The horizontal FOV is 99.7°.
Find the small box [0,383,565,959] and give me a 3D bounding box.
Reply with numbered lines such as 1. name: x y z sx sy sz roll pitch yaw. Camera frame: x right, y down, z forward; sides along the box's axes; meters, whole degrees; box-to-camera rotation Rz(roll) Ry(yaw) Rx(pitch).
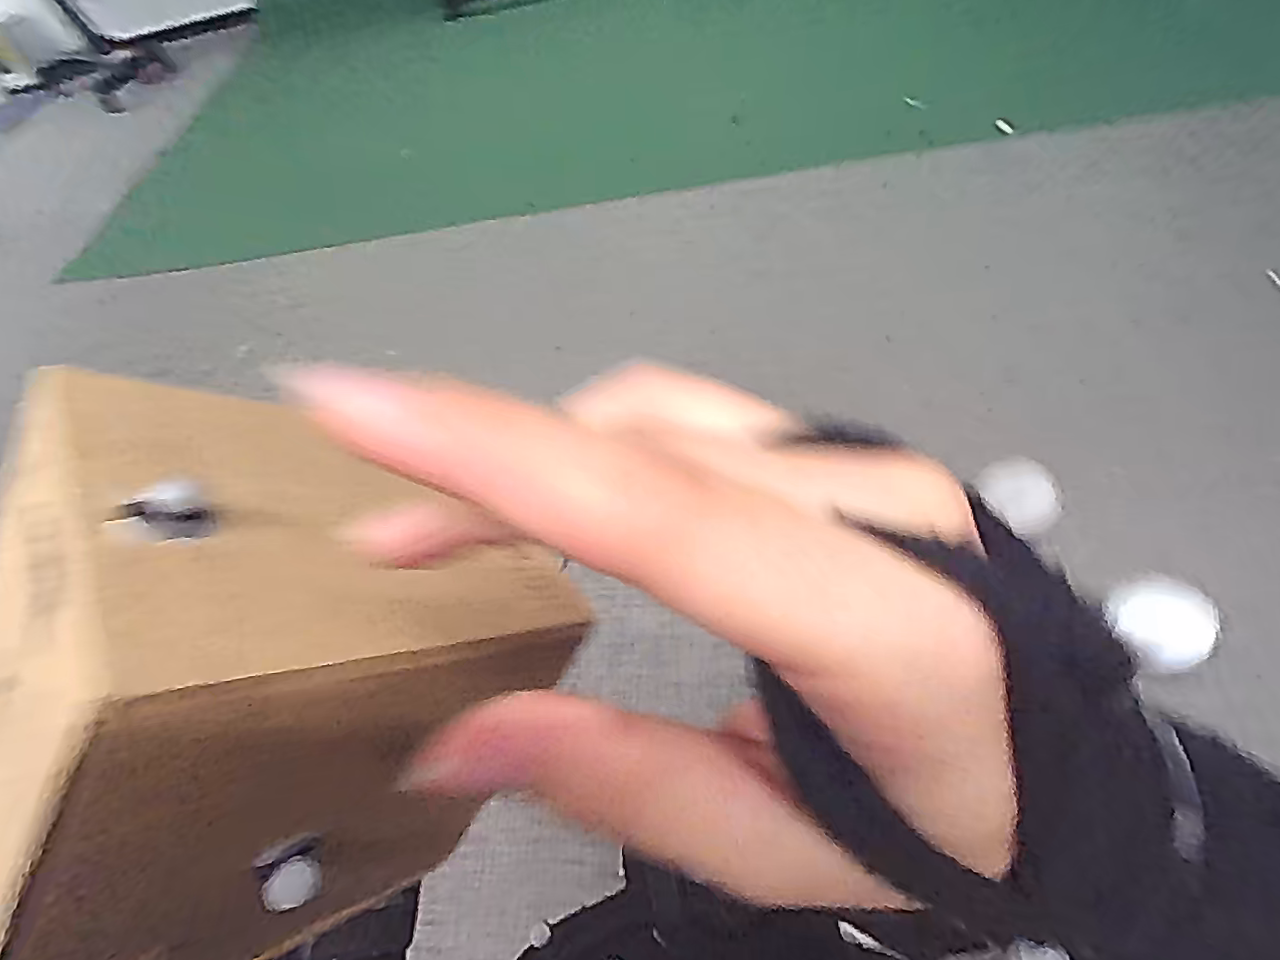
1. small box: -0.165 0.086 0.248 0.168 0.176 0.179 40 107 31
